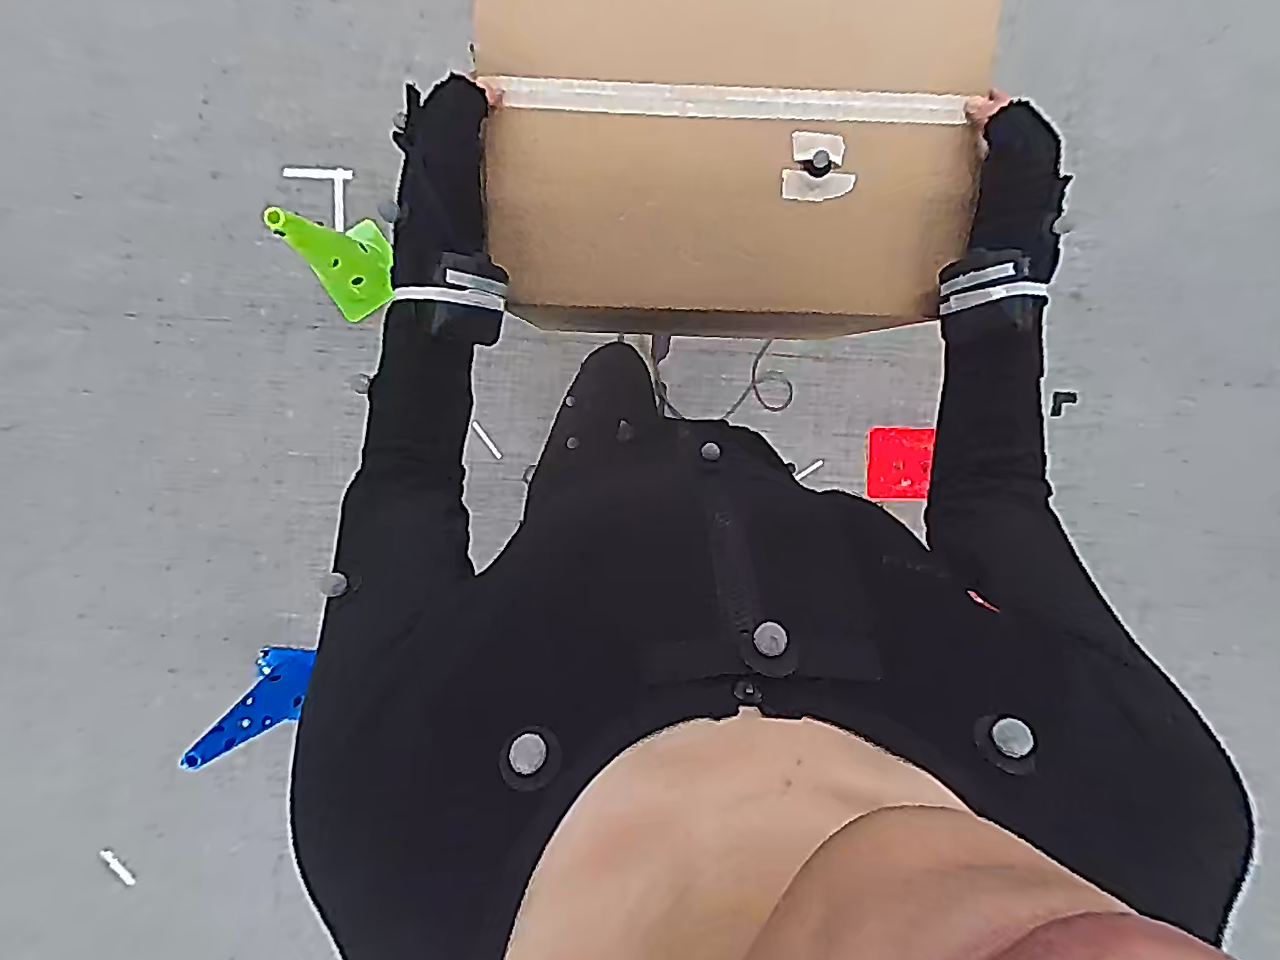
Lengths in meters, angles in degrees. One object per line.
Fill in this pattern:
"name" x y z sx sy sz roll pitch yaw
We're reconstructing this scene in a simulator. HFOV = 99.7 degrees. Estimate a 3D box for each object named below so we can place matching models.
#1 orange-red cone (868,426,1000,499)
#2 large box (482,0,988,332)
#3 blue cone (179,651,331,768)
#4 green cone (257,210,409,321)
"orange-red cone" 0.732 -0.038 1.315 0.198 0.360 0.199 1 93 -3
"large box" 0.068 -0.332 0.580 0.408 0.320 0.320 1 101 -3
"blue cone" -0.948 0.578 1.325 0.192 0.380 0.193 7 94 -1
"green cone" -0.723 -0.527 1.227 0.202 0.368 0.200 -34 94 3
